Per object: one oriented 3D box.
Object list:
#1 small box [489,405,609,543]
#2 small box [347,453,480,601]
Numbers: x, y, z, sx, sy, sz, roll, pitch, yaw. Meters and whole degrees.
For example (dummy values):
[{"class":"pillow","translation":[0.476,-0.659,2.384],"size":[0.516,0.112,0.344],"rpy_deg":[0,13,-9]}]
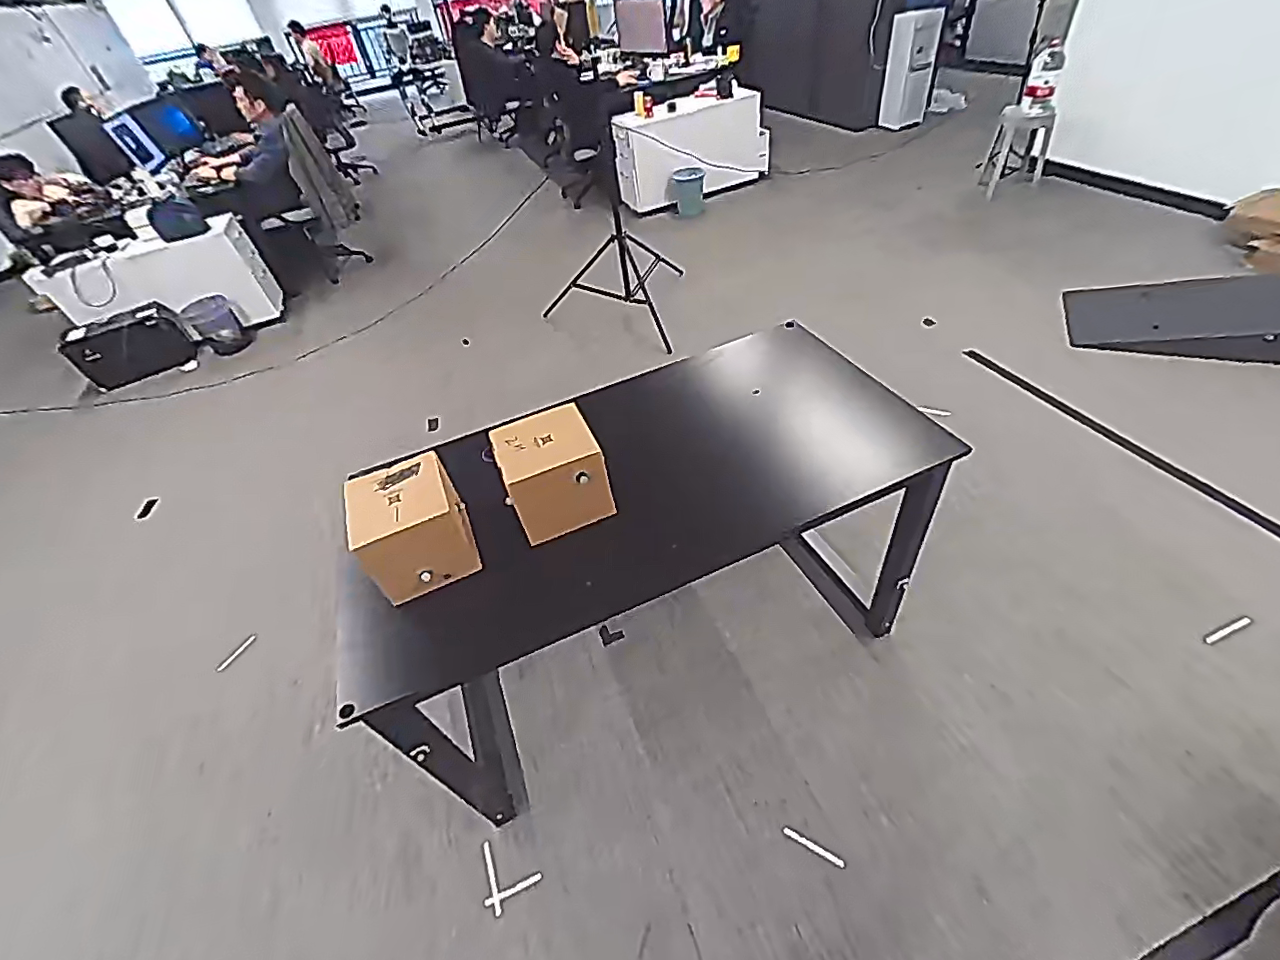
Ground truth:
[{"class":"small box","translation":[-0.168,-0.011,1.039],"size":[0.179,0.176,0.168],"rpy_deg":[-21,45,-10]},{"class":"small box","translation":[-0.411,0.086,0.988],"size":[0.168,0.176,0.179],"rpy_deg":[-23,47,-12]}]
